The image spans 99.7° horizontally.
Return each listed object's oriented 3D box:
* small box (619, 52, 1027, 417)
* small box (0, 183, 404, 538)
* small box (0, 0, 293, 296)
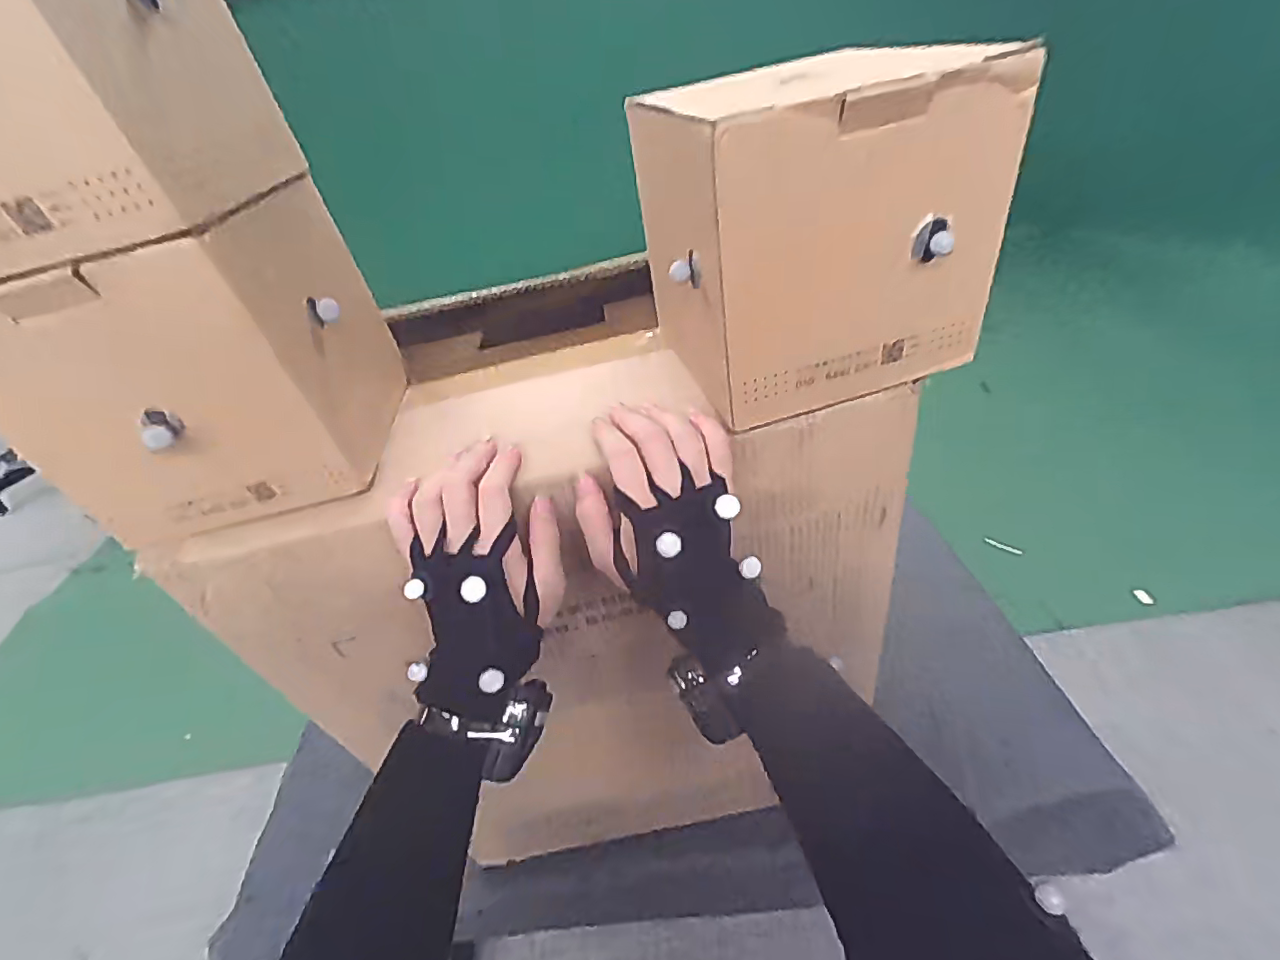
[{"bbox_3d":[0.097,-0.157,0.357,0.168,0.176,0.179,-16,38,-6],"label":"small box"},{"bbox_3d":[-0.289,-0.079,0.376,0.168,0.176,0.179,-15,39,-1],"label":"small box"},{"bbox_3d":[-0.319,-0.203,0.272,0.168,0.176,0.179,-14,40,1],"label":"small box"}]
